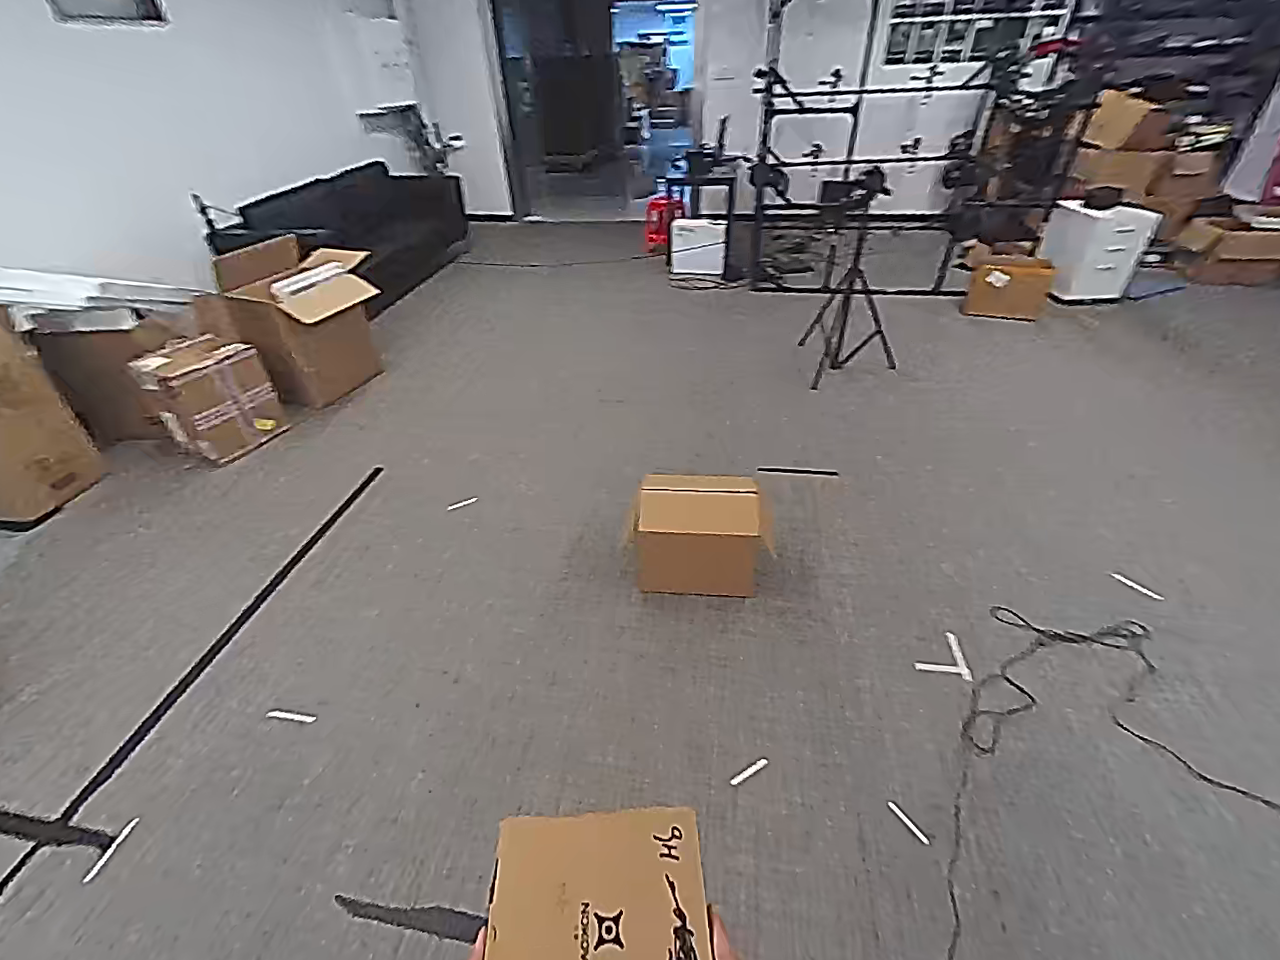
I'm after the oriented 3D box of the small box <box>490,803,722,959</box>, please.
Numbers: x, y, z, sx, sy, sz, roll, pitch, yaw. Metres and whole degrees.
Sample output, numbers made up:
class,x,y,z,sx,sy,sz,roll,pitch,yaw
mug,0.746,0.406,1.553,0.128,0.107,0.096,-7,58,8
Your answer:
class,x,y,z,sx,sy,sz,roll,pitch,yaw
small box,-0.024,0.402,0.468,0.179,0.176,0.168,-2,42,-1
